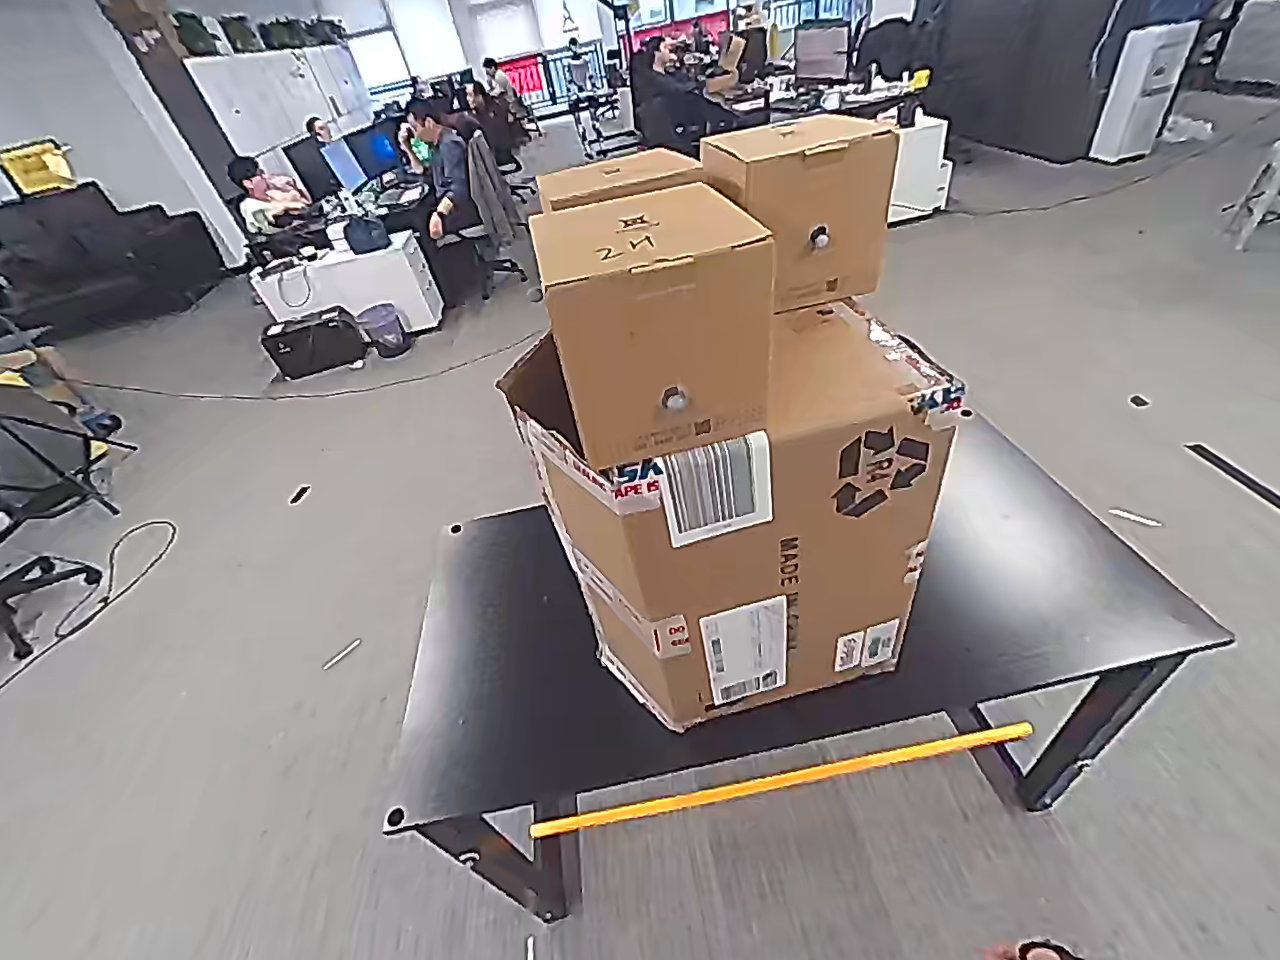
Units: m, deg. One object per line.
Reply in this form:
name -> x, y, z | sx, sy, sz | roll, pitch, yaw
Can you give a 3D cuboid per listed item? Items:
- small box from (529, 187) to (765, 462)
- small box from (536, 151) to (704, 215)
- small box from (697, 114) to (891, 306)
small box -> 0.003, -0.143, 0.491 | 0.168, 0.176, 0.179 | -14, 42, -4
small box -> -0.021, -0.284, 0.664 | 0.168, 0.176, 0.179 | -17, 40, -5
small box -> 0.175, -0.323, 0.660 | 0.168, 0.176, 0.179 | -12, 41, -3
